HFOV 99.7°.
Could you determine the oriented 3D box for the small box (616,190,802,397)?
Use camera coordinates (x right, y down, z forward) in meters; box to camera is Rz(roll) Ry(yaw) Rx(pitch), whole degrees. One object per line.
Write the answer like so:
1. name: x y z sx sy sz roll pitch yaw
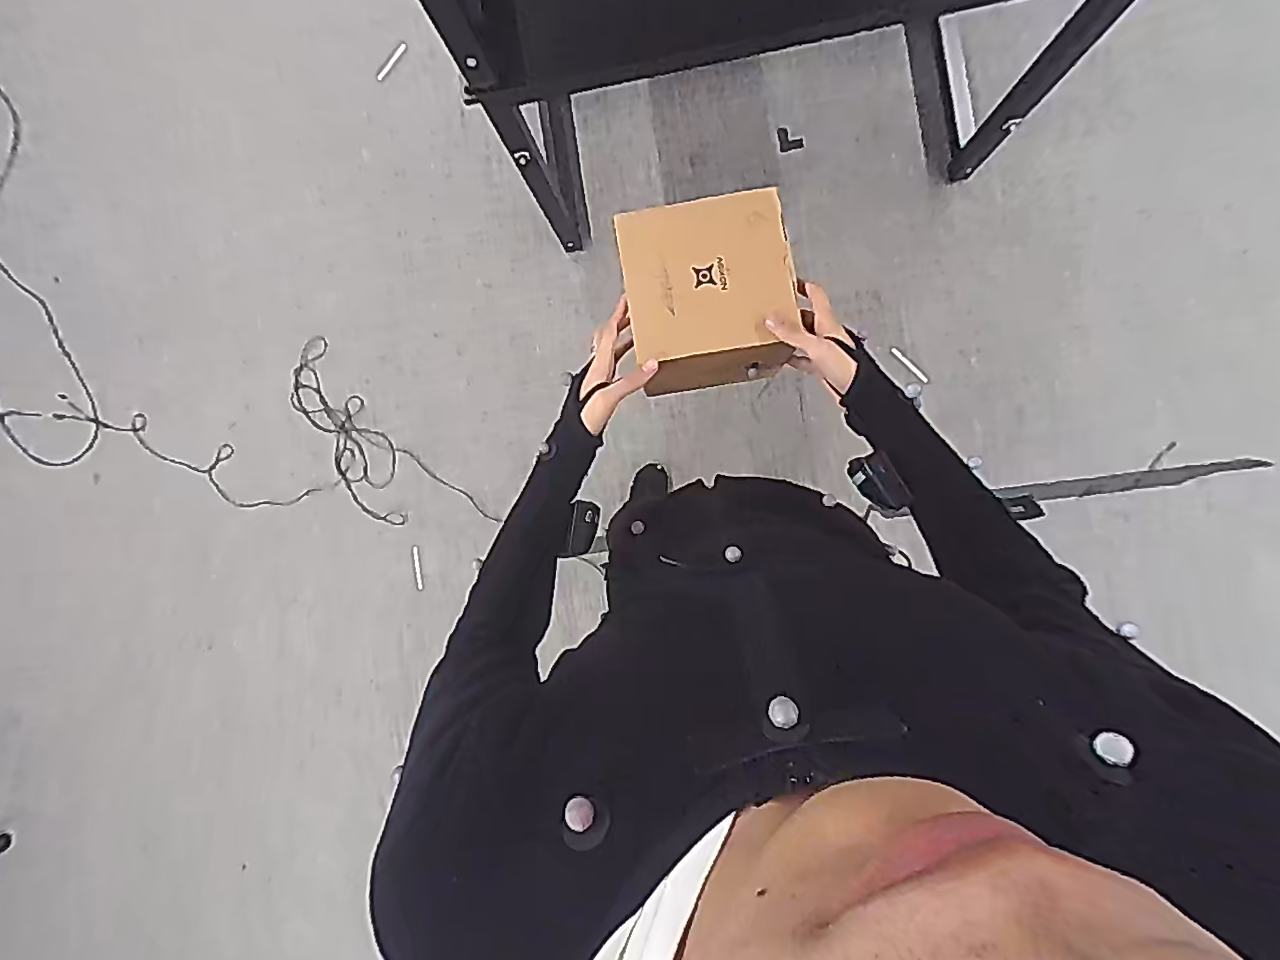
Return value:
1. small box: 0.073 -0.204 0.636 0.179 0.176 0.168 -8 85 2
